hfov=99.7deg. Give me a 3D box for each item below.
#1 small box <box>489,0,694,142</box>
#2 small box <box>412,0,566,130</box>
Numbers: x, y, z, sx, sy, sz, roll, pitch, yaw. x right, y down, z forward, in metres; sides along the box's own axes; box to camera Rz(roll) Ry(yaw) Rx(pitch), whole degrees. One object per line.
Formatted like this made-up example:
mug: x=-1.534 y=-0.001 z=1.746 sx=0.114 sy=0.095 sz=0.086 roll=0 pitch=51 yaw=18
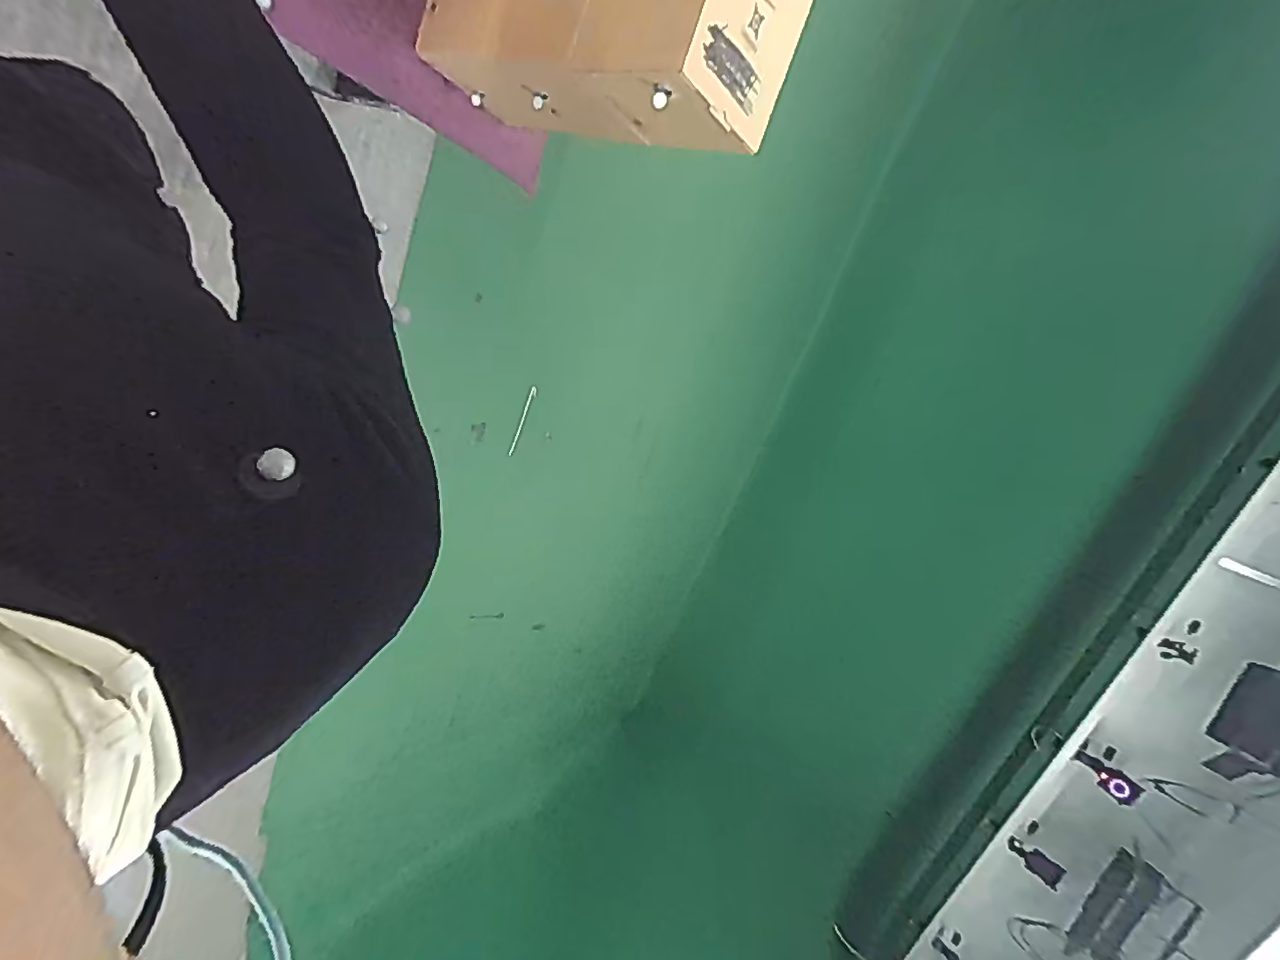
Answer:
small box: x=-0.065 y=-0.576 z=0.694 sx=0.168 sy=0.176 sz=0.179 roll=6 pitch=112 yaw=-55
small box: x=-0.188 y=-0.645 z=0.777 sx=0.179 sy=0.176 sz=0.168 roll=4 pitch=112 yaw=-57
